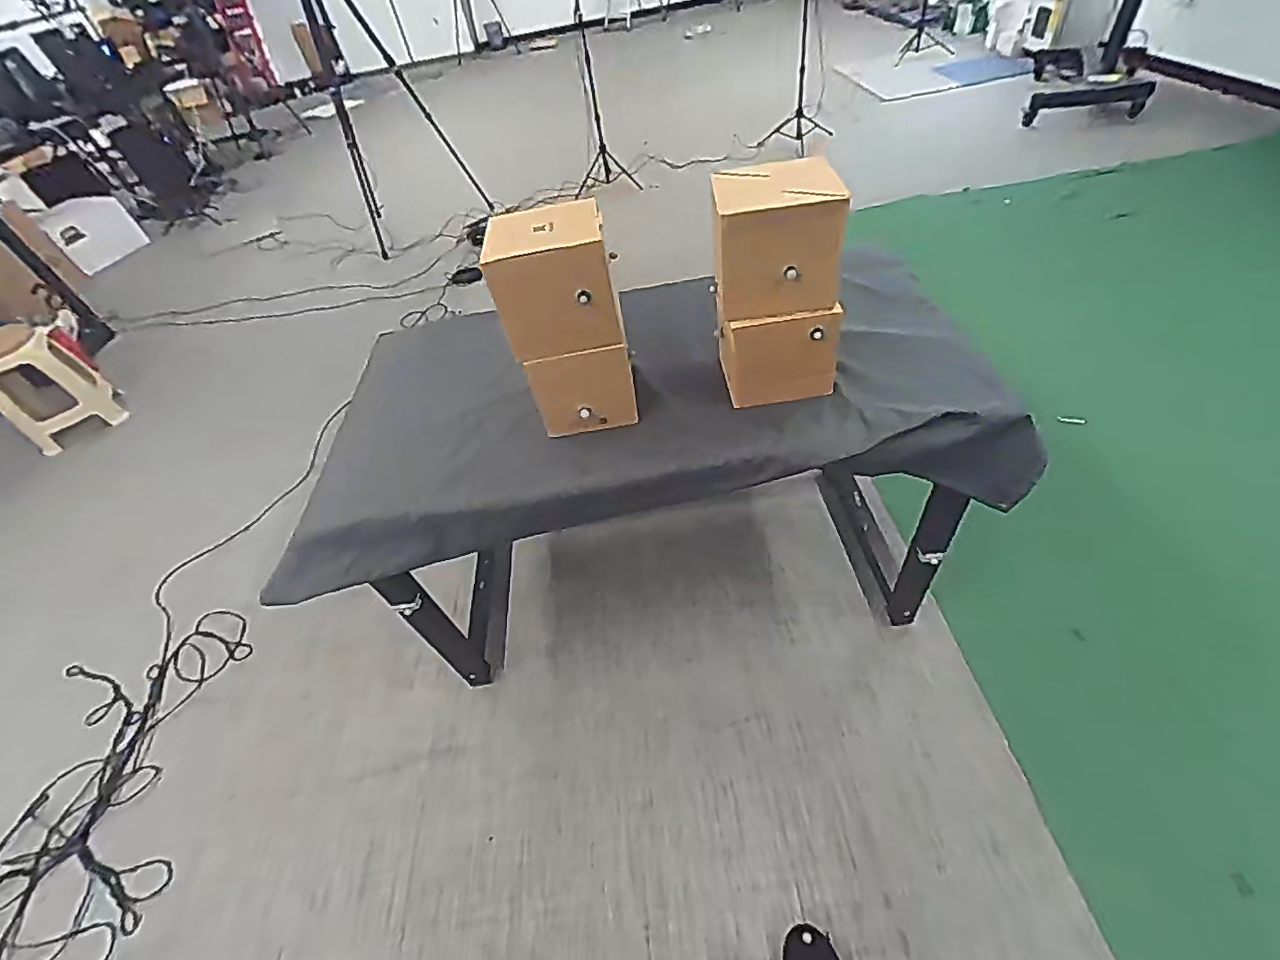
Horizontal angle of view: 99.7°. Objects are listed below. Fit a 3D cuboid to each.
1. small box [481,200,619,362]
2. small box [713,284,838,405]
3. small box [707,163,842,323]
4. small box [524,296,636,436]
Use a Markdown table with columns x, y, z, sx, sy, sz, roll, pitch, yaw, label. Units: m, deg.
| x | y | z | sx | sy | sz | roll | pitch | yaw | label |
| --- | --- | --- | --- | --- | --- | --- | --- | --- | --- |
| -0.132 | -0.312 | 0.857 | 0.179 | 0.176 | 0.168 | -11 | 46 | 2 | small box |
| 0.231 | -0.249 | 0.955 | 0.179 | 0.176 | 0.168 | -8 | 47 | 3 | small box |
| 0.203 | -0.371 | 0.842 | 0.179 | 0.176 | 0.168 | -5 | 47 | 6 | small box |
| -0.103 | -0.205 | 0.977 | 0.168 | 0.176 | 0.179 | -9 | 48 | 3 | small box |
